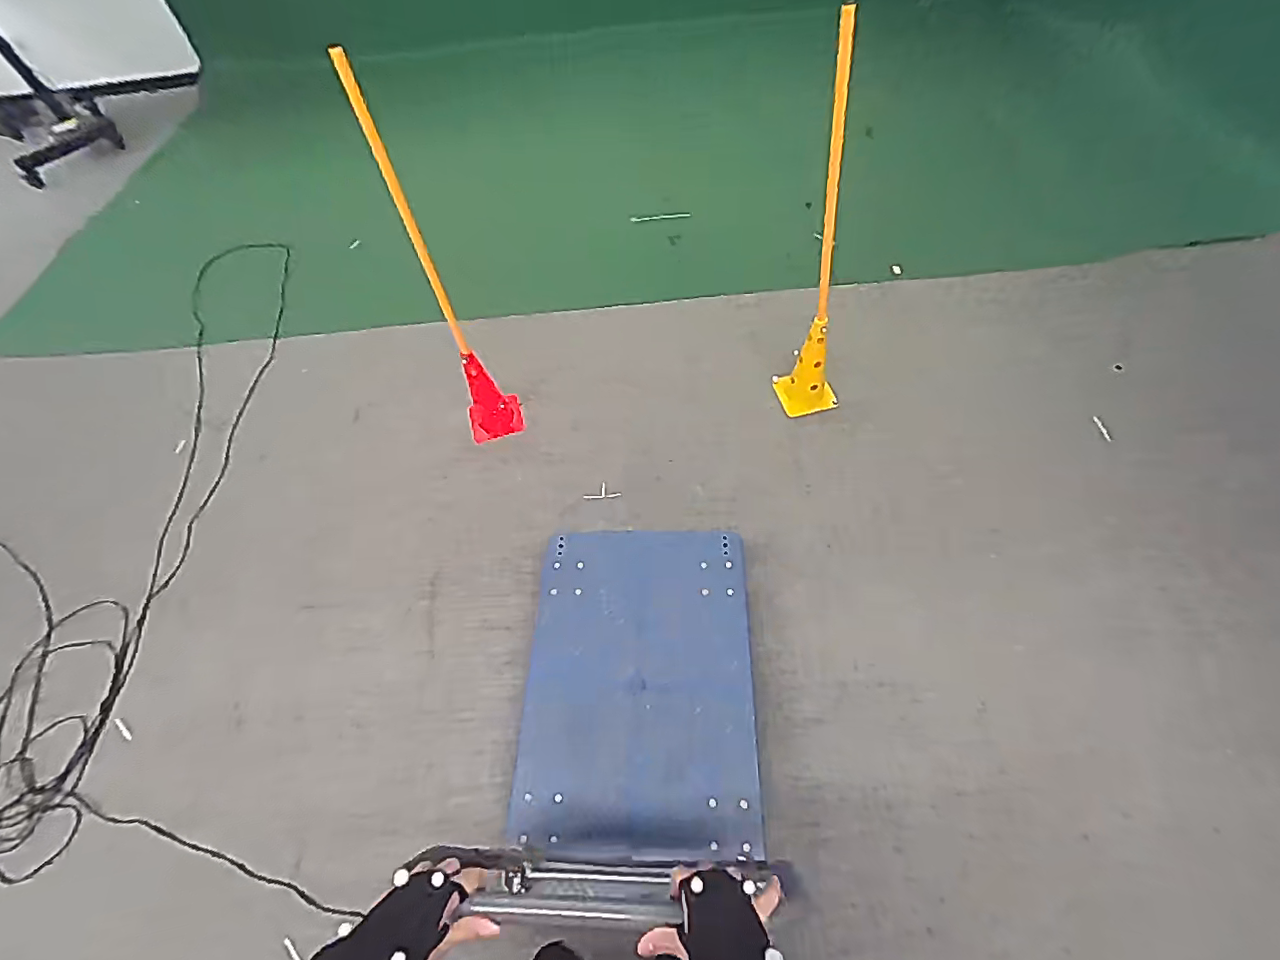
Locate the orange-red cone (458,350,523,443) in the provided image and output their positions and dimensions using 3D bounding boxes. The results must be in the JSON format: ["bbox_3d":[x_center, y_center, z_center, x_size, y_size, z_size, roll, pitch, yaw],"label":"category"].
[{"bbox_3d":[-0.578,-0.328,1.961,0.199,0.360,0.198,-17,56,-4],"label":"orange-red cone"}]
